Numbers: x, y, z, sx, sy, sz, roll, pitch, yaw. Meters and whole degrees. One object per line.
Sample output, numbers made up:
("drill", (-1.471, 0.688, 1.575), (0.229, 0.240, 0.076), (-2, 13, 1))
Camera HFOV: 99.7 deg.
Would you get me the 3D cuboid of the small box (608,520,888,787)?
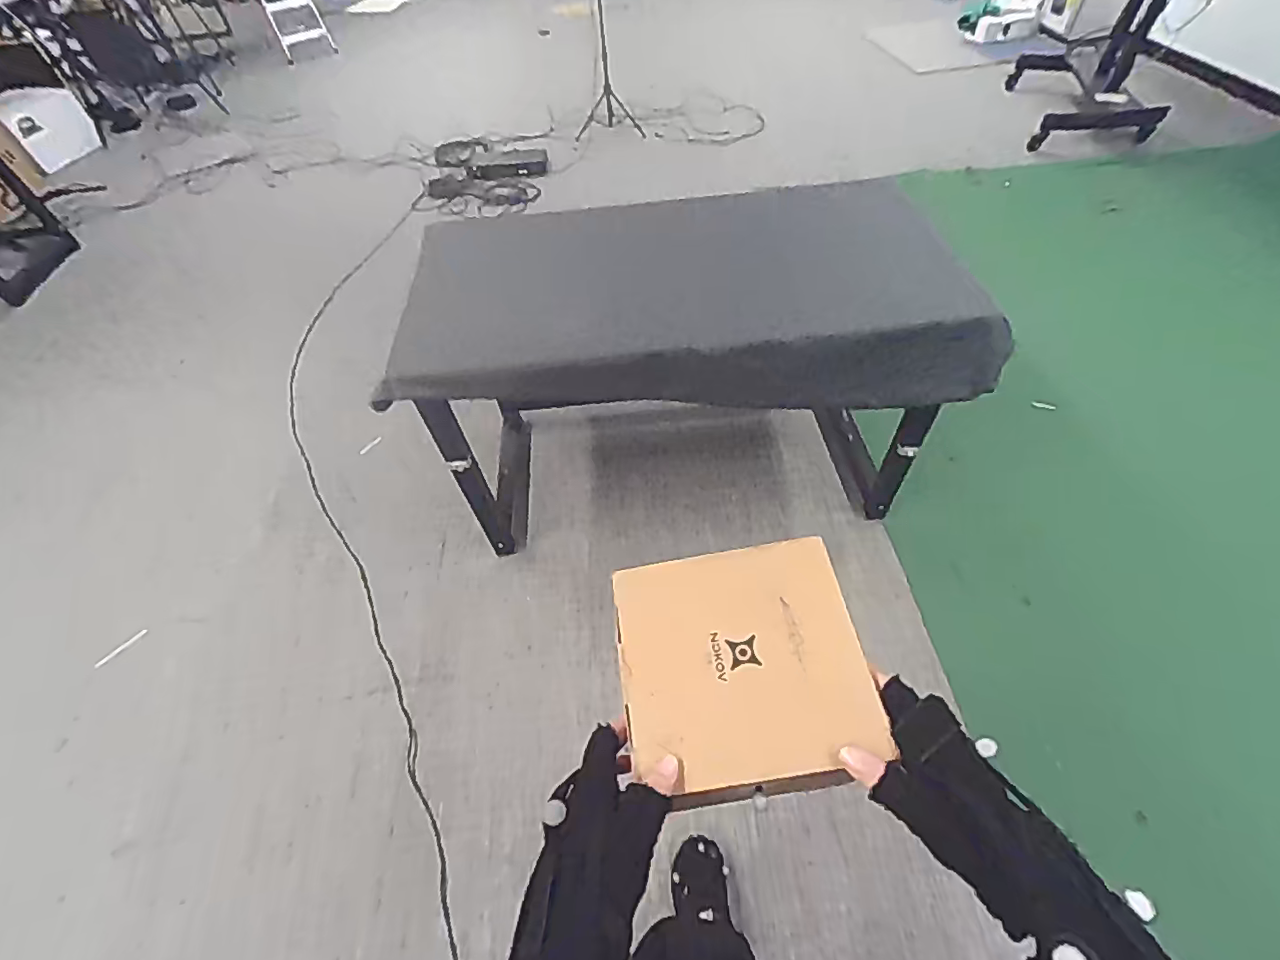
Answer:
("small box", (0.078, 0.156, 0.465), (0.179, 0.176, 0.168), (-10, 58, 1))
